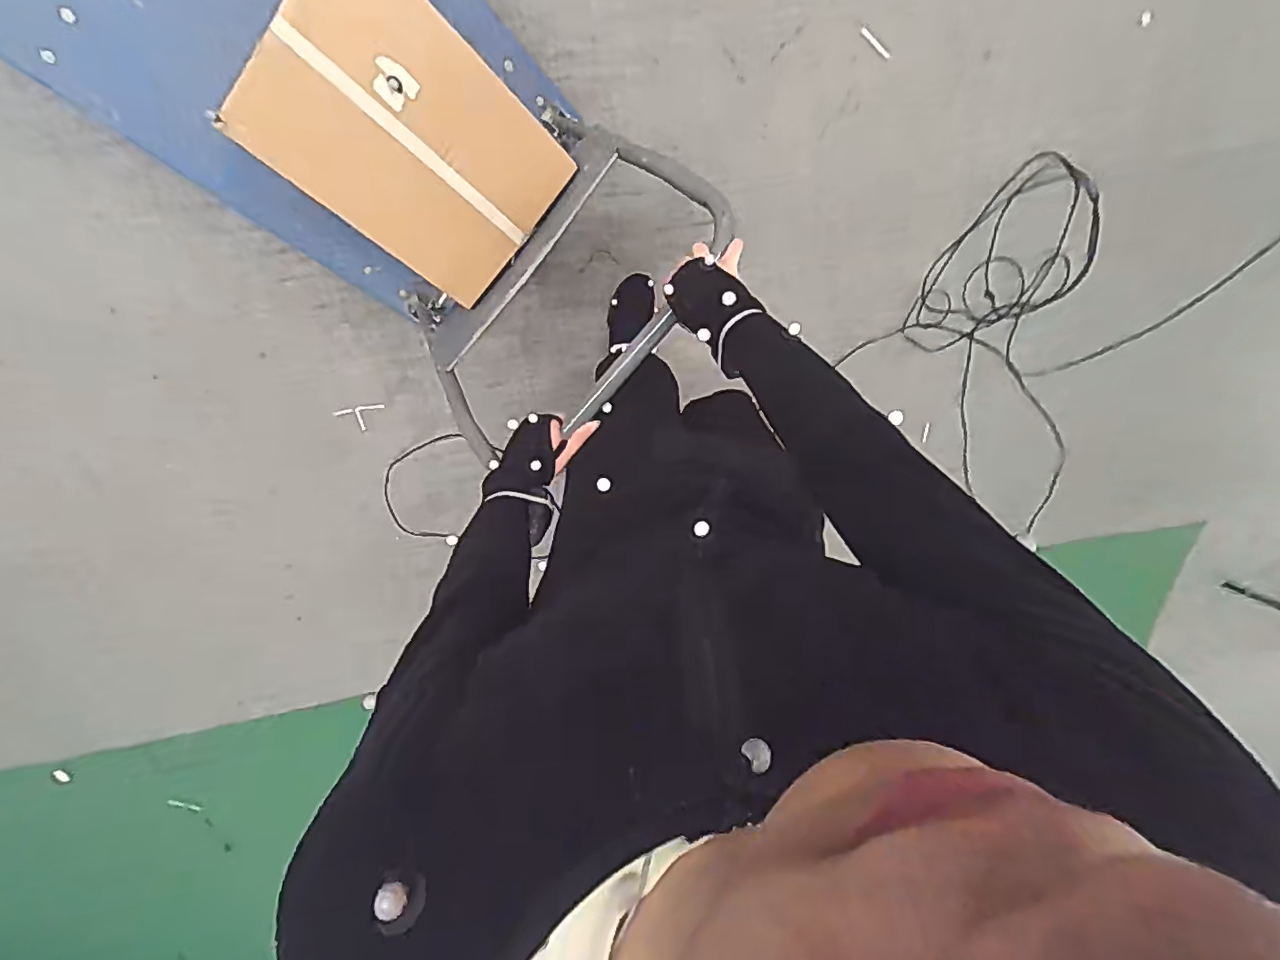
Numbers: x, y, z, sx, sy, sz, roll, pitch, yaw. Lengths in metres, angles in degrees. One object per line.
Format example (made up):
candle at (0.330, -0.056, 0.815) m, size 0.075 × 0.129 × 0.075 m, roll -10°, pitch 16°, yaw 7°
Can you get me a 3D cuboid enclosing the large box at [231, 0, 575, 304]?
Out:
large box at (-0.390, -0.592, 0.948) m, size 0.320 × 0.320 × 0.408 m, roll -47°, pitch 130°, yaw 12°
